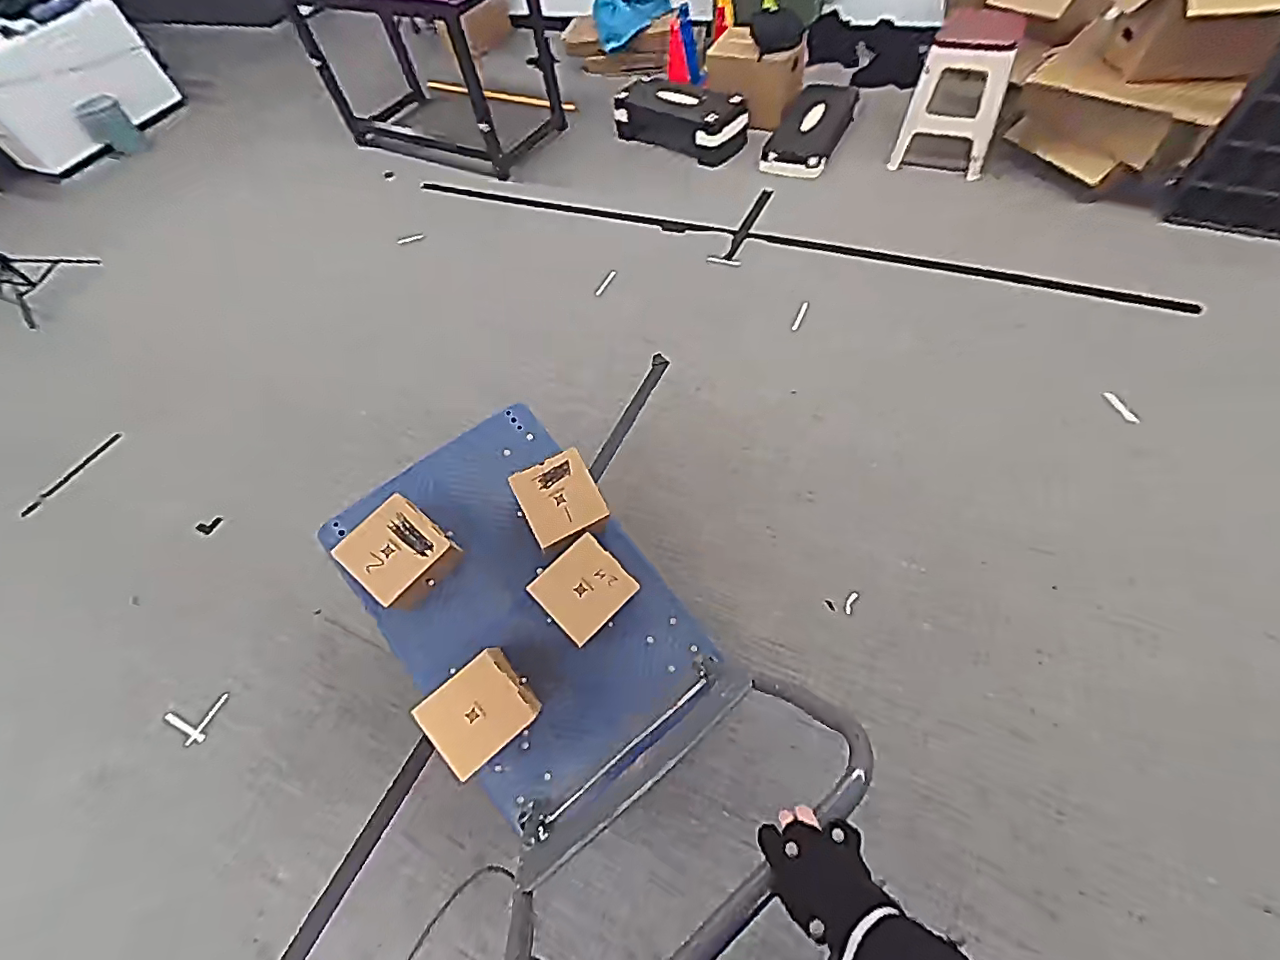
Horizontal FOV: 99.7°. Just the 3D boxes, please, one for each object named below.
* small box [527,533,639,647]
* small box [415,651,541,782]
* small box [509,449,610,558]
[{"bbox_3d":[-0.122,0.247,1.195,0.179,0.176,0.168,-43,82,-15],"label":"small box"},{"bbox_3d":[-0.320,0.474,1.110,0.179,0.176,0.168,-40,81,-16],"label":"small box"},{"bbox_3d":[-0.183,0.060,1.245,0.168,0.176,0.179,-27,79,-12],"label":"small box"}]
